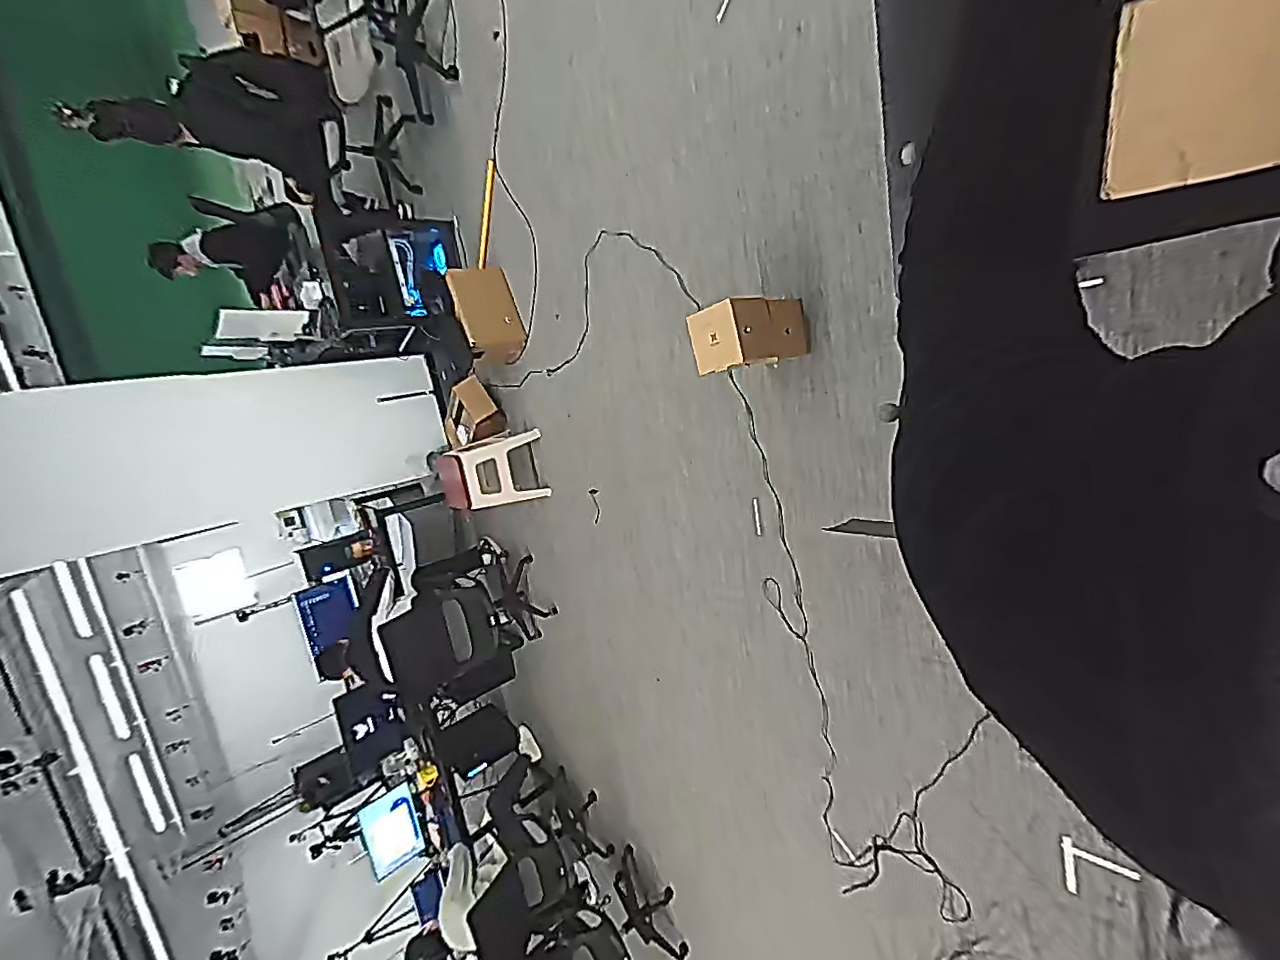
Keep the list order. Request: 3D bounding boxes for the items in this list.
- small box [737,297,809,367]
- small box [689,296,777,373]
[{"bbox_3d":[0.393,-0.452,1.653,0.168,0.176,0.179,-3,102,50],"label":"small box"},{"bbox_3d":[0.270,-0.419,1.551,0.168,0.176,0.179,-8,97,50],"label":"small box"}]
